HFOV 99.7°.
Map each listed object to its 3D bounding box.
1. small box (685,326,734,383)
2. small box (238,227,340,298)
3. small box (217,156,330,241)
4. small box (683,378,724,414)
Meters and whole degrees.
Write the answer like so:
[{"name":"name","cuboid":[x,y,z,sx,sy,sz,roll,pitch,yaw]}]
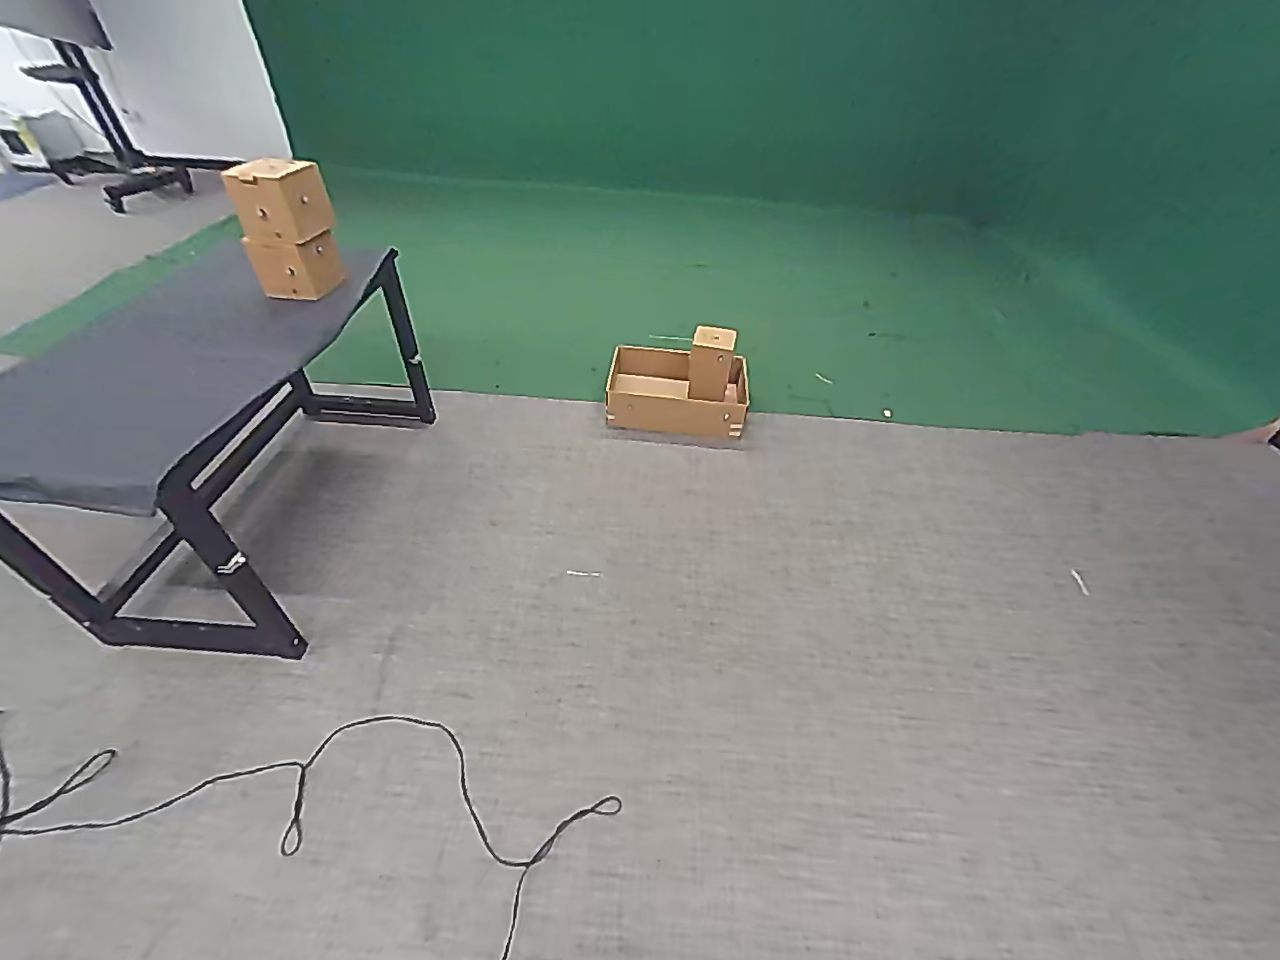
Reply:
[{"name":"small box","cuboid":[0.299,-0.541,2.347,0.179,0.176,0.168,10,44,7]},{"name":"small box","cuboid":[-1.034,-0.659,1.613,0.168,0.176,0.179,7,43,3]},{"name":"small box","cuboid":[-1.008,-0.785,1.509,0.168,0.176,0.179,9,44,5]},{"name":"small box","cuboid":[0.292,-0.427,2.465,0.168,0.176,0.179,10,46,7]}]
